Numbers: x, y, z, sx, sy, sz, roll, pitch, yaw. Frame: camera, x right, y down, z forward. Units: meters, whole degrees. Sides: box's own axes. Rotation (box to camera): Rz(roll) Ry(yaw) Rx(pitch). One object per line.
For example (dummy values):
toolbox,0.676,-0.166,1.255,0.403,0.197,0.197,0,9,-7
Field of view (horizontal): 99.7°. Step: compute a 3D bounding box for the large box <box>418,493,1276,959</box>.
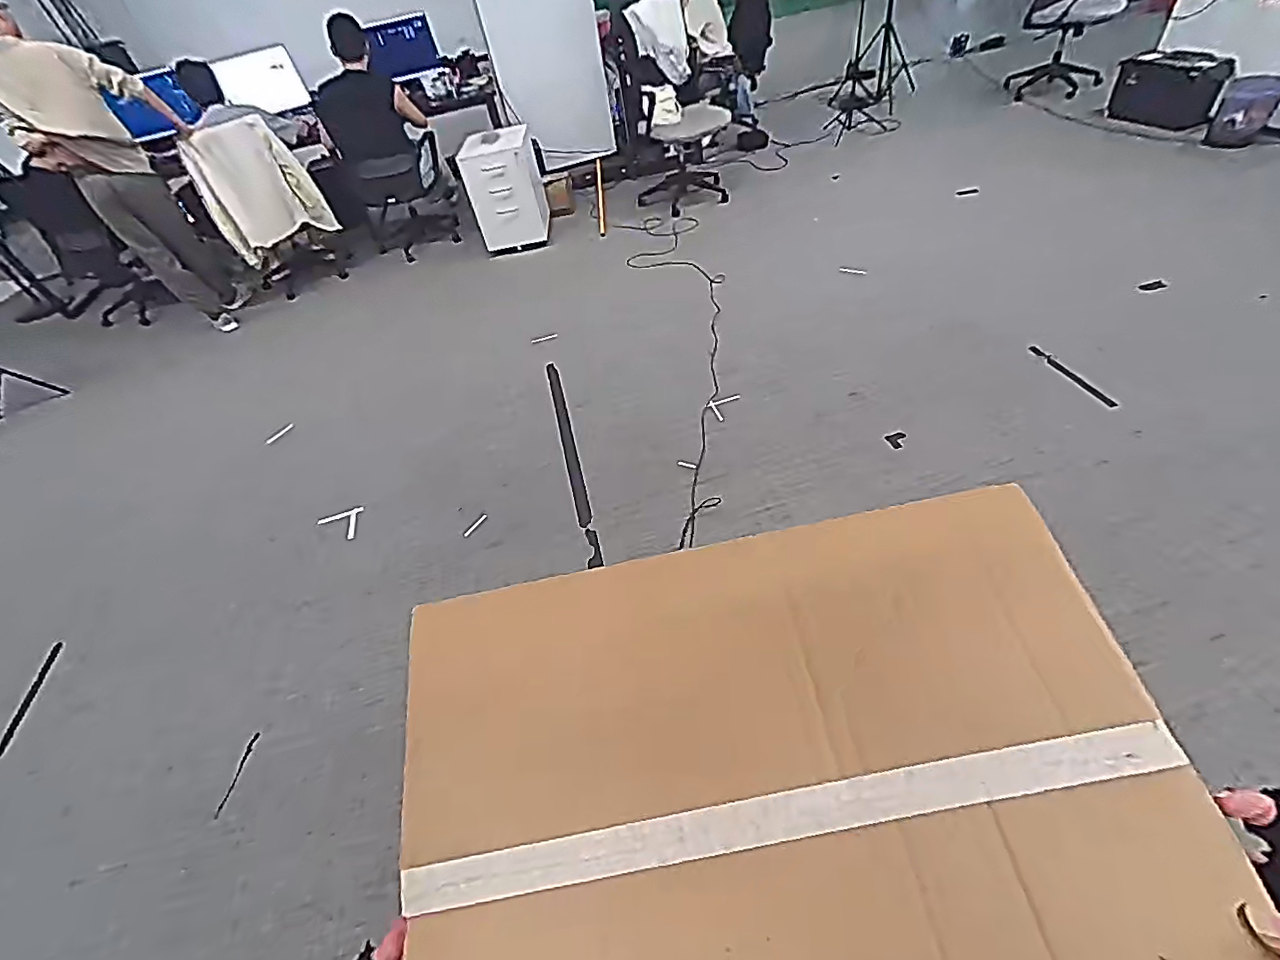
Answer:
large box,0.092,0.253,0.419,0.408,0.320,0.320,-13,61,2
